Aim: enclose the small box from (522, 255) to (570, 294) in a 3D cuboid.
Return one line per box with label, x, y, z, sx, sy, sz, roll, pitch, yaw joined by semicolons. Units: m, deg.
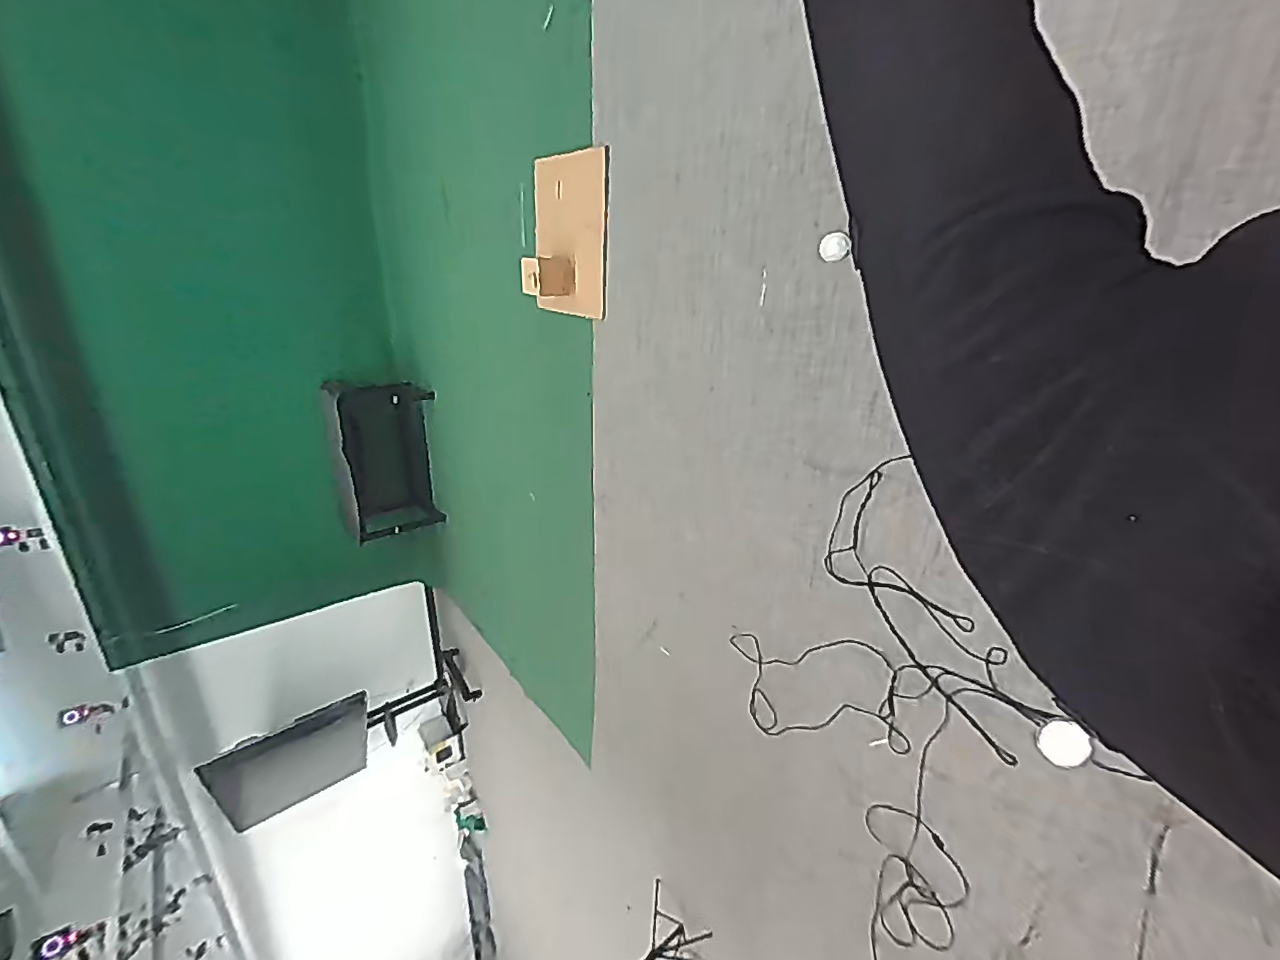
small box;-0.452;-0.998;2.617;0.179;0.176;0.168;29;125;45
